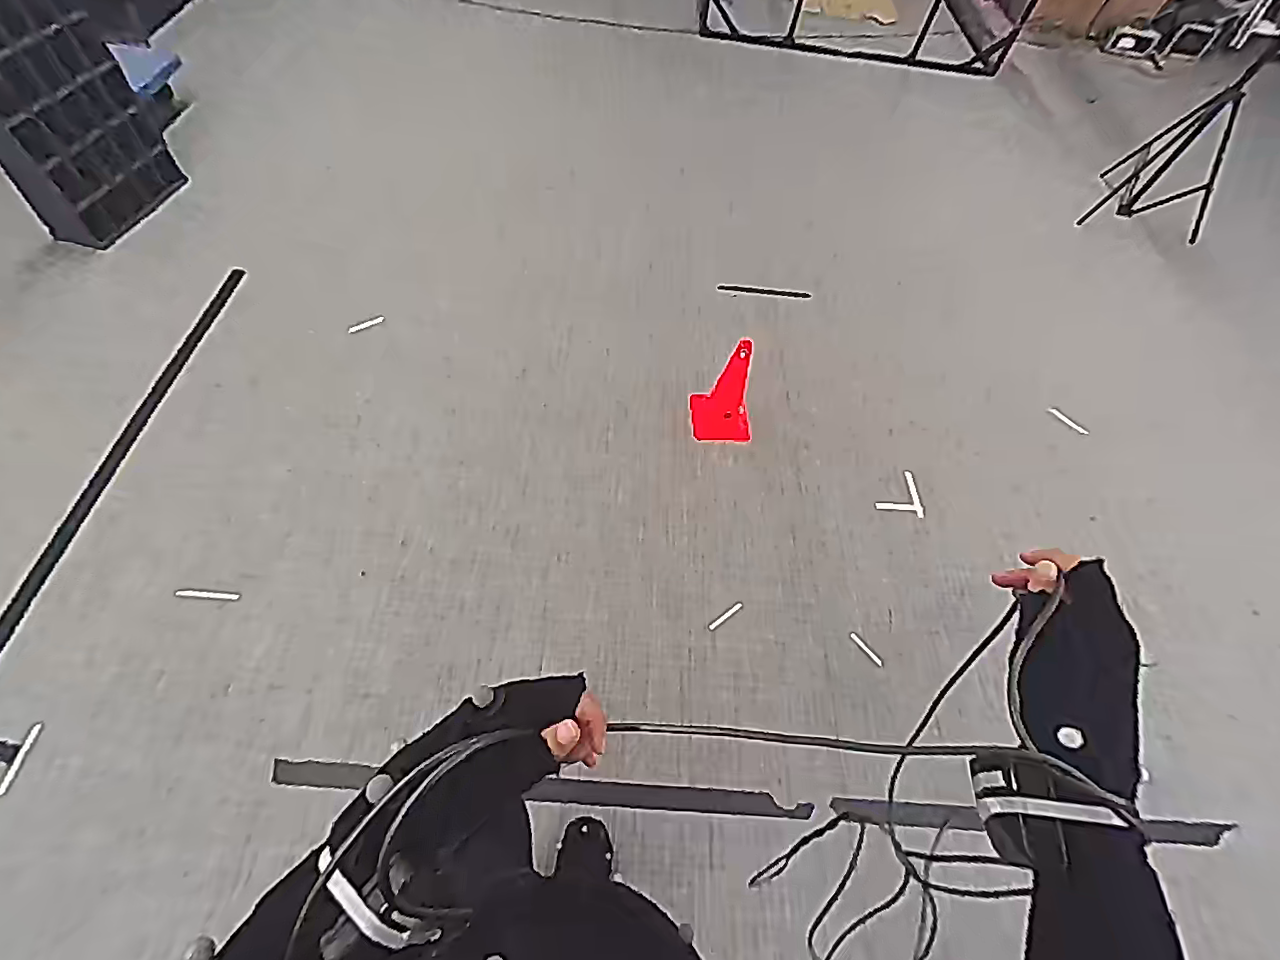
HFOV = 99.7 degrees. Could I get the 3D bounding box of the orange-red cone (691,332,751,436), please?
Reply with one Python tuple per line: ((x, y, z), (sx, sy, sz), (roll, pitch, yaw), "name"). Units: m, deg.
((0.287, -0.320, 1.702), (0.199, 0.360, 0.198), (1, 58, -4), "orange-red cone")
